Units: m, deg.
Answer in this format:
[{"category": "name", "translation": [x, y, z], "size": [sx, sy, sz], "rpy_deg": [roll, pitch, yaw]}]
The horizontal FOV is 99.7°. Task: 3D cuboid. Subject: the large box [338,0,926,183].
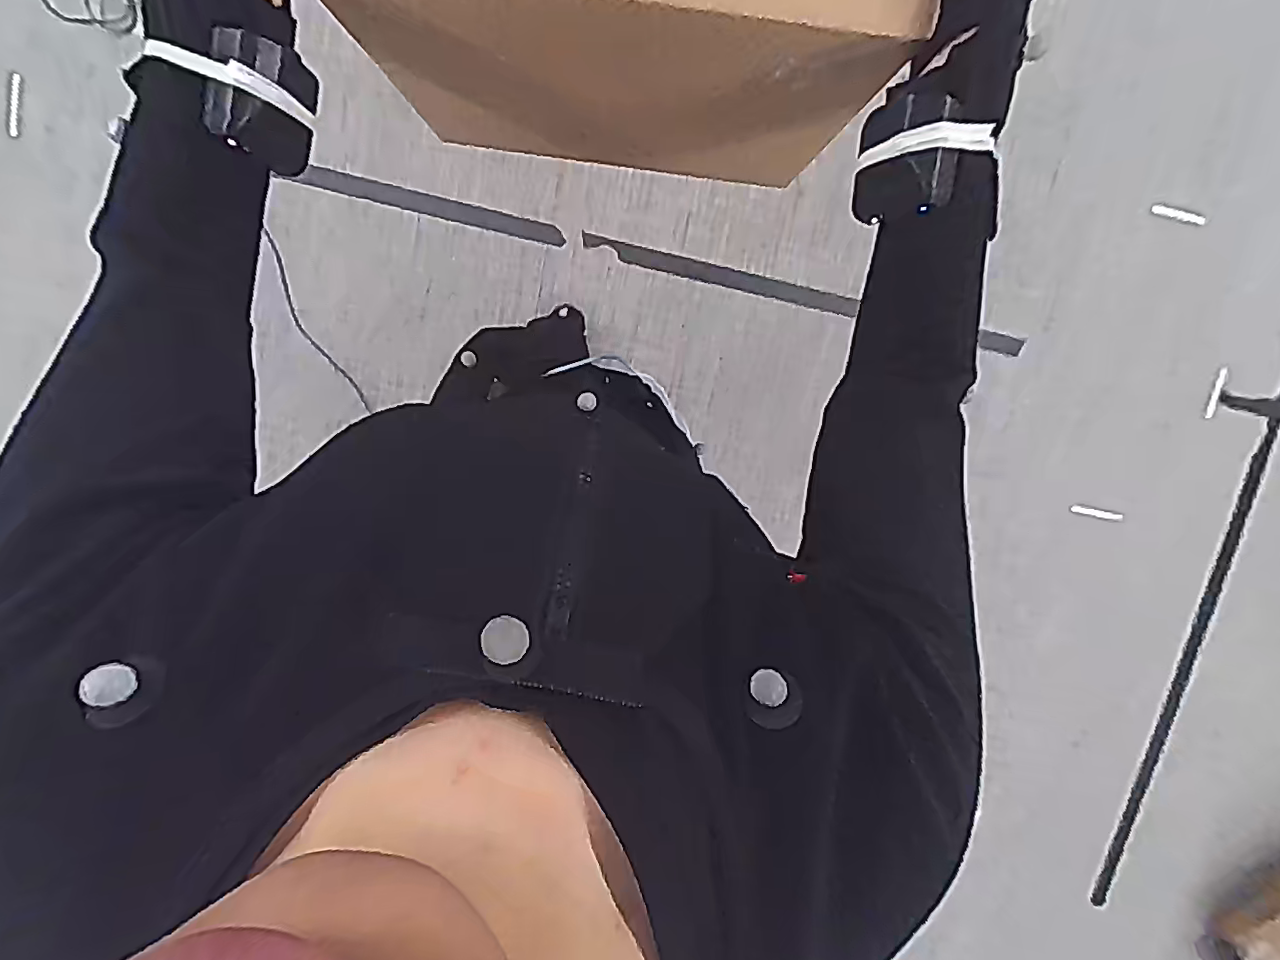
[{"category": "large box", "translation": [-0.007, -0.483, 0.457], "size": [0.408, 0.320, 0.320], "rpy_deg": [5, 103, -4]}]
